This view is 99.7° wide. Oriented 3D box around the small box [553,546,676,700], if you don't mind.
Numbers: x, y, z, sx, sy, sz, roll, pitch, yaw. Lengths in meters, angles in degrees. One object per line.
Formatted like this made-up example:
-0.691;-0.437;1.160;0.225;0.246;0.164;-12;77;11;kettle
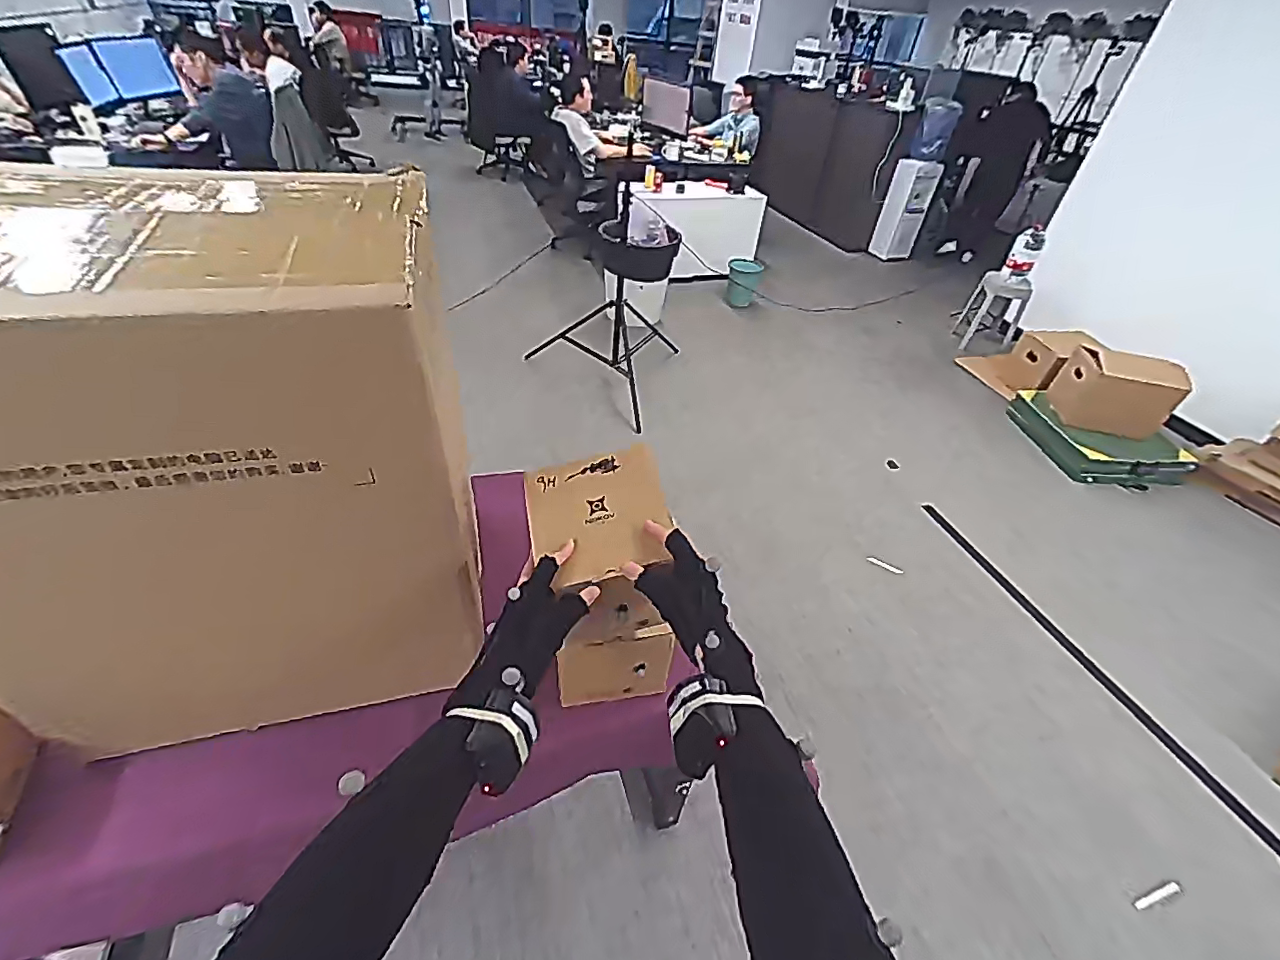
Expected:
-0.048;0.230;0.861;0.168;0.176;0.179;-3;40;-12;small box
